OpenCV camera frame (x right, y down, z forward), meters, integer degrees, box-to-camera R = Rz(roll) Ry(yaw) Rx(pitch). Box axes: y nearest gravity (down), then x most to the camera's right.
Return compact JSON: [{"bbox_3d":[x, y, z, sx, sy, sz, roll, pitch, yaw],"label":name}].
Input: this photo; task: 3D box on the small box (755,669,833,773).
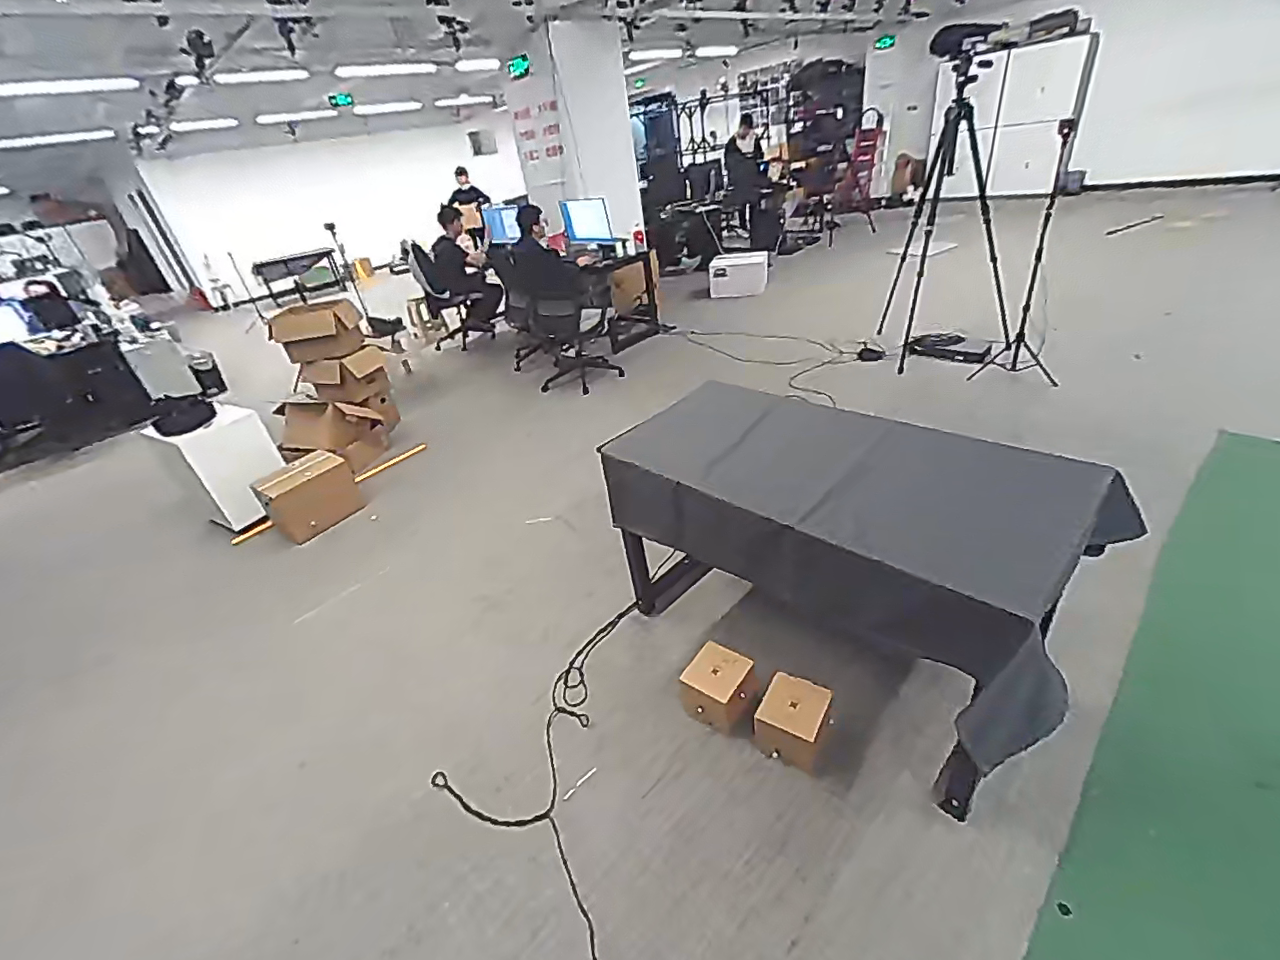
[{"bbox_3d":[0.438,0.685,1.540,0.168,0.176,0.179,13,38,33],"label":"small box"}]
